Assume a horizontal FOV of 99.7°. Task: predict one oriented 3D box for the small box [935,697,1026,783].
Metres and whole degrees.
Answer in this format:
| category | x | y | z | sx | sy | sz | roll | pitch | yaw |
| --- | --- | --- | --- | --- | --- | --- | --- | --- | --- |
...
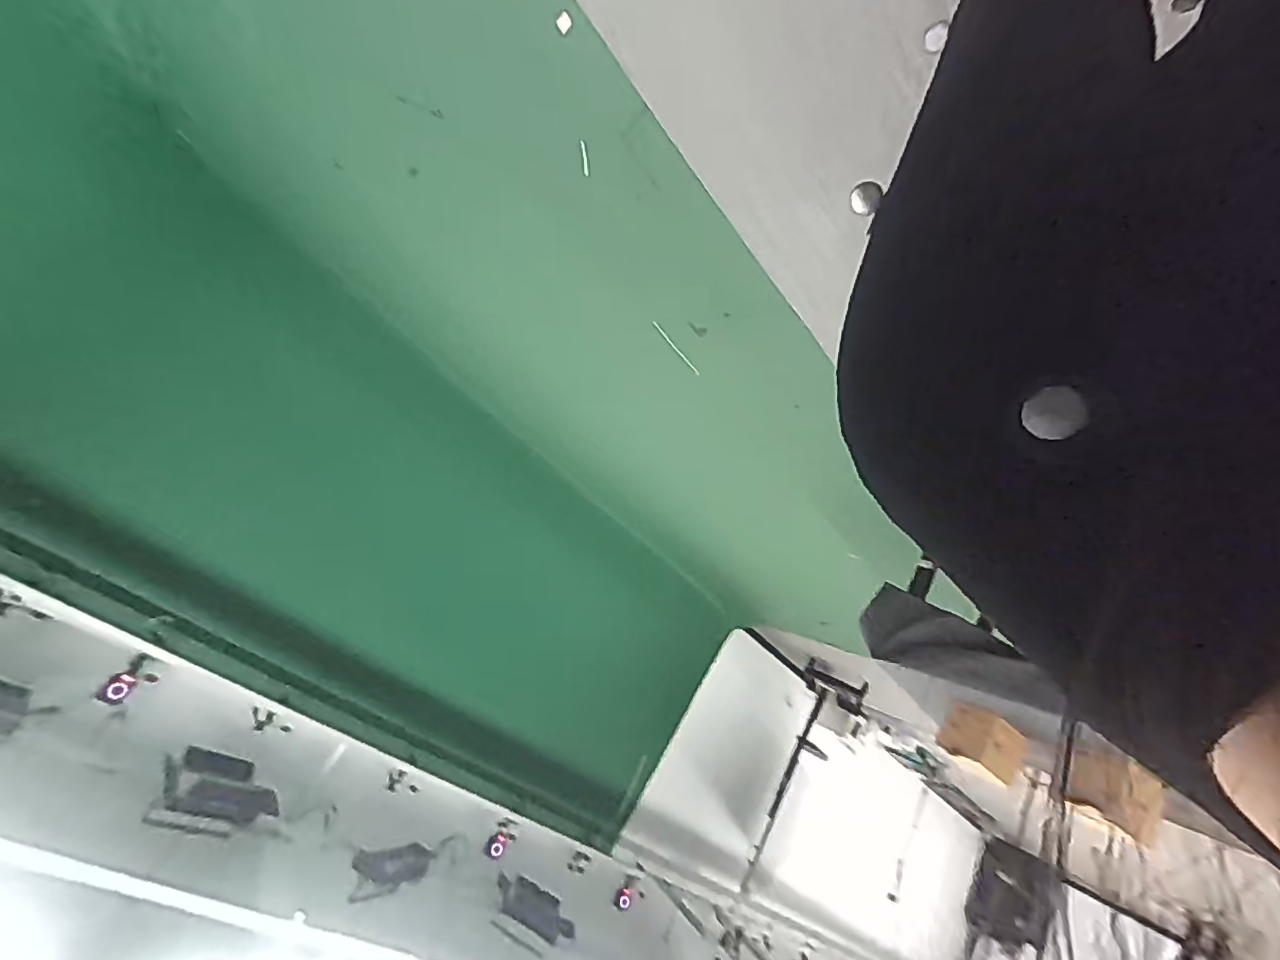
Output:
| category | x | y | z | sx | sy | sz | roll | pitch | yaw |
| --- | --- | --- | --- | --- | --- | --- | --- | --- | --- |
| small box | 1.108 | 0.835 | 1.757 | 0.179 | 0.176 | 0.168 | 38 | 162 | -16 |
